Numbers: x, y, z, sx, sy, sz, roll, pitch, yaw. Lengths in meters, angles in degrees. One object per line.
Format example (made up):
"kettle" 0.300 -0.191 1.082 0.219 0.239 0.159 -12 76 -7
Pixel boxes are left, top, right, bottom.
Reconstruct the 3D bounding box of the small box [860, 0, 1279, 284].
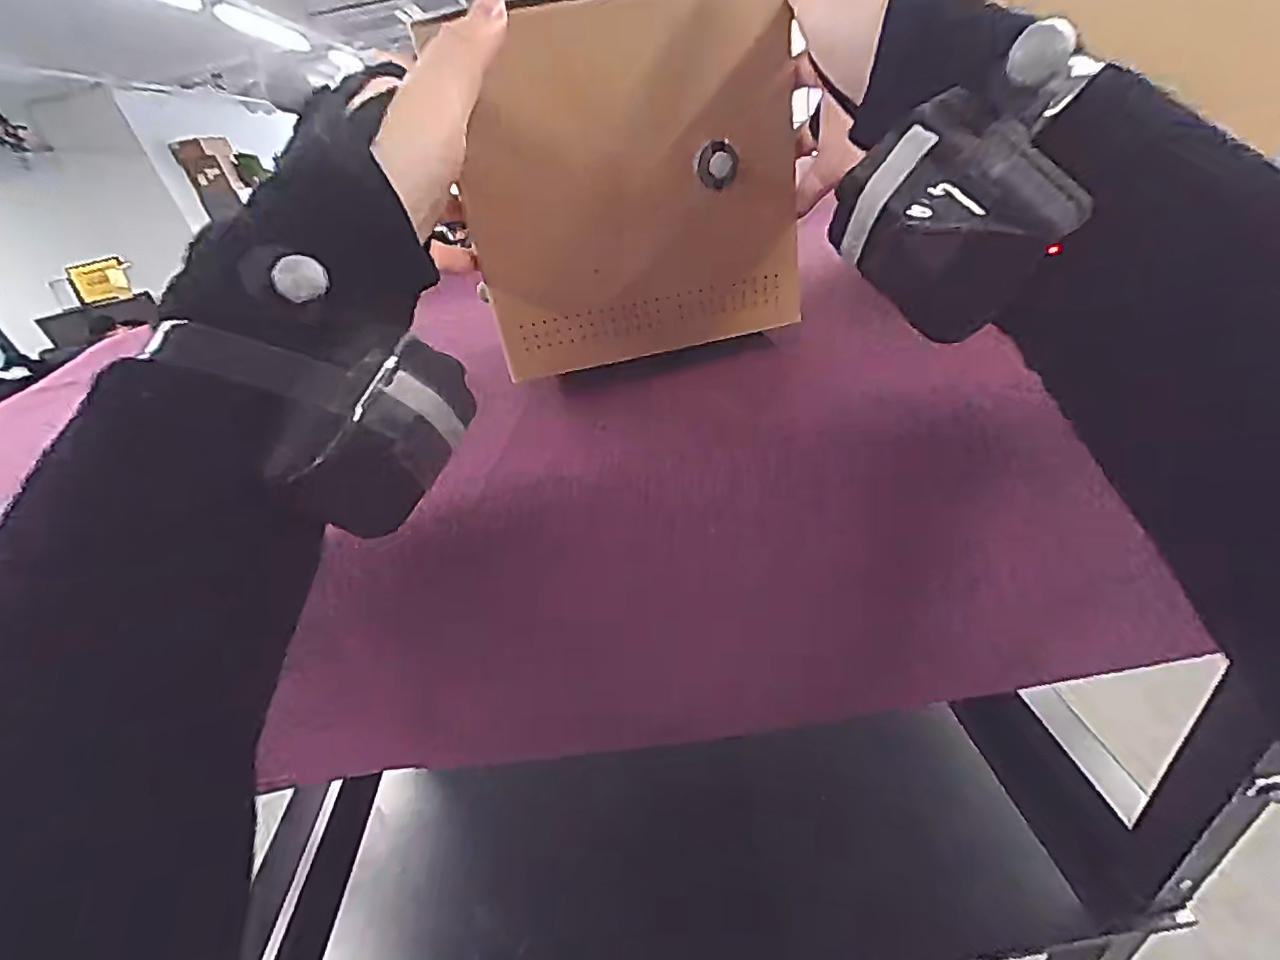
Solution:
"small box" 0.260 -0.242 0.349 0.179 0.176 0.168 -13 31 0

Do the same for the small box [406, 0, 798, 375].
"small box" -0.014 -0.181 0.340 0.179 0.176 0.168 -13 28 -4
